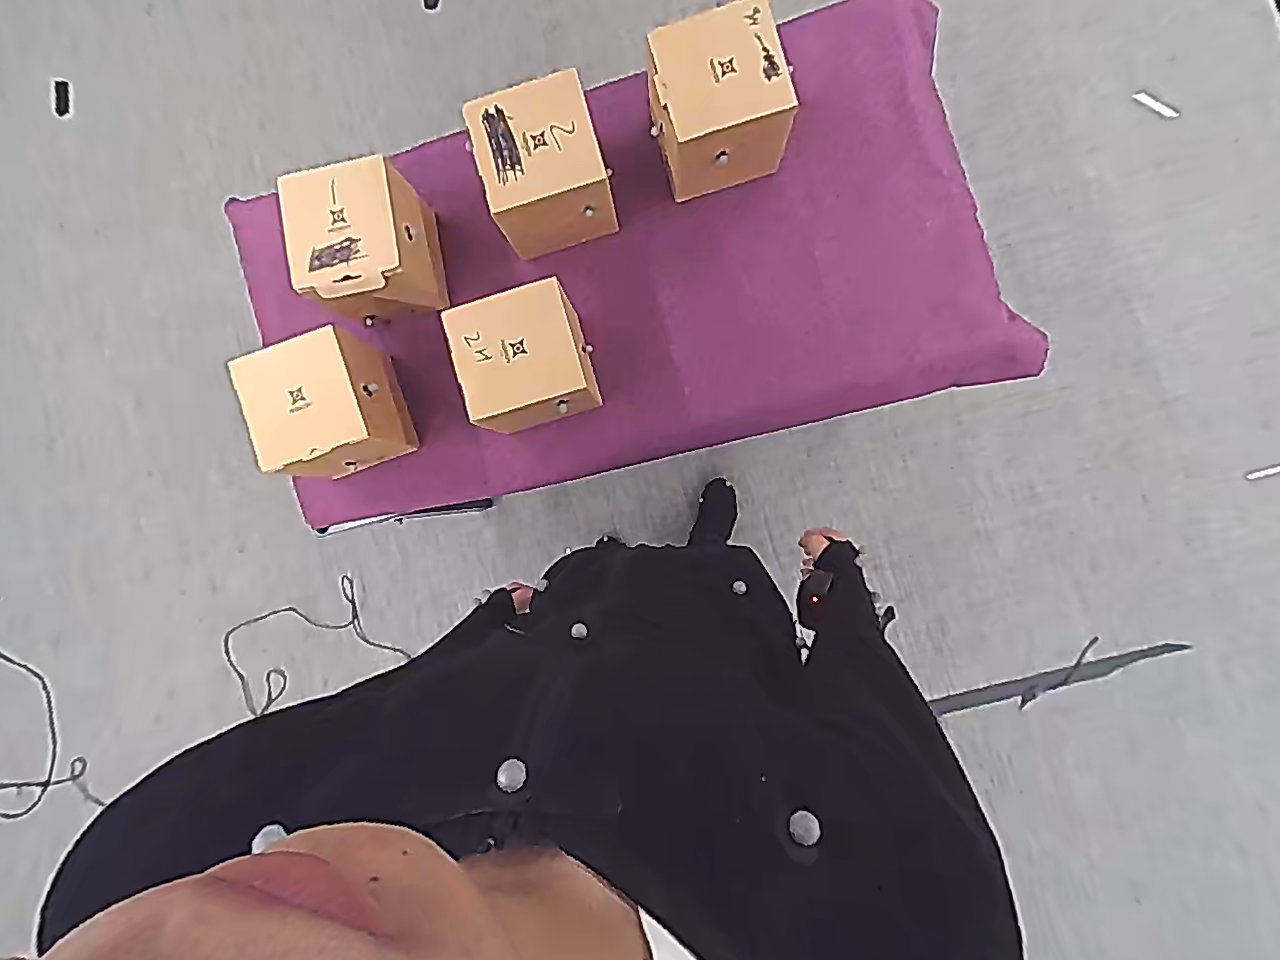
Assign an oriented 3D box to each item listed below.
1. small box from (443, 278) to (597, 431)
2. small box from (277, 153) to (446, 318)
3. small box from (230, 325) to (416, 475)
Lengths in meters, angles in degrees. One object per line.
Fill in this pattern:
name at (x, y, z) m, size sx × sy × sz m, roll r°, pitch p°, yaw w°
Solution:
small box at (-0.171, -0.182, 0.835) m, size 0.179 × 0.176 × 0.168 m, roll -16°, pitch 88°, yaw 4°
small box at (-0.426, -0.370, 0.856) m, size 0.168 × 0.176 × 0.179 m, roll -10°, pitch 88°, yaw 3°
small box at (-0.486, -0.115, 0.853) m, size 0.168 × 0.176 × 0.179 m, roll -20°, pitch 88°, yaw 1°
